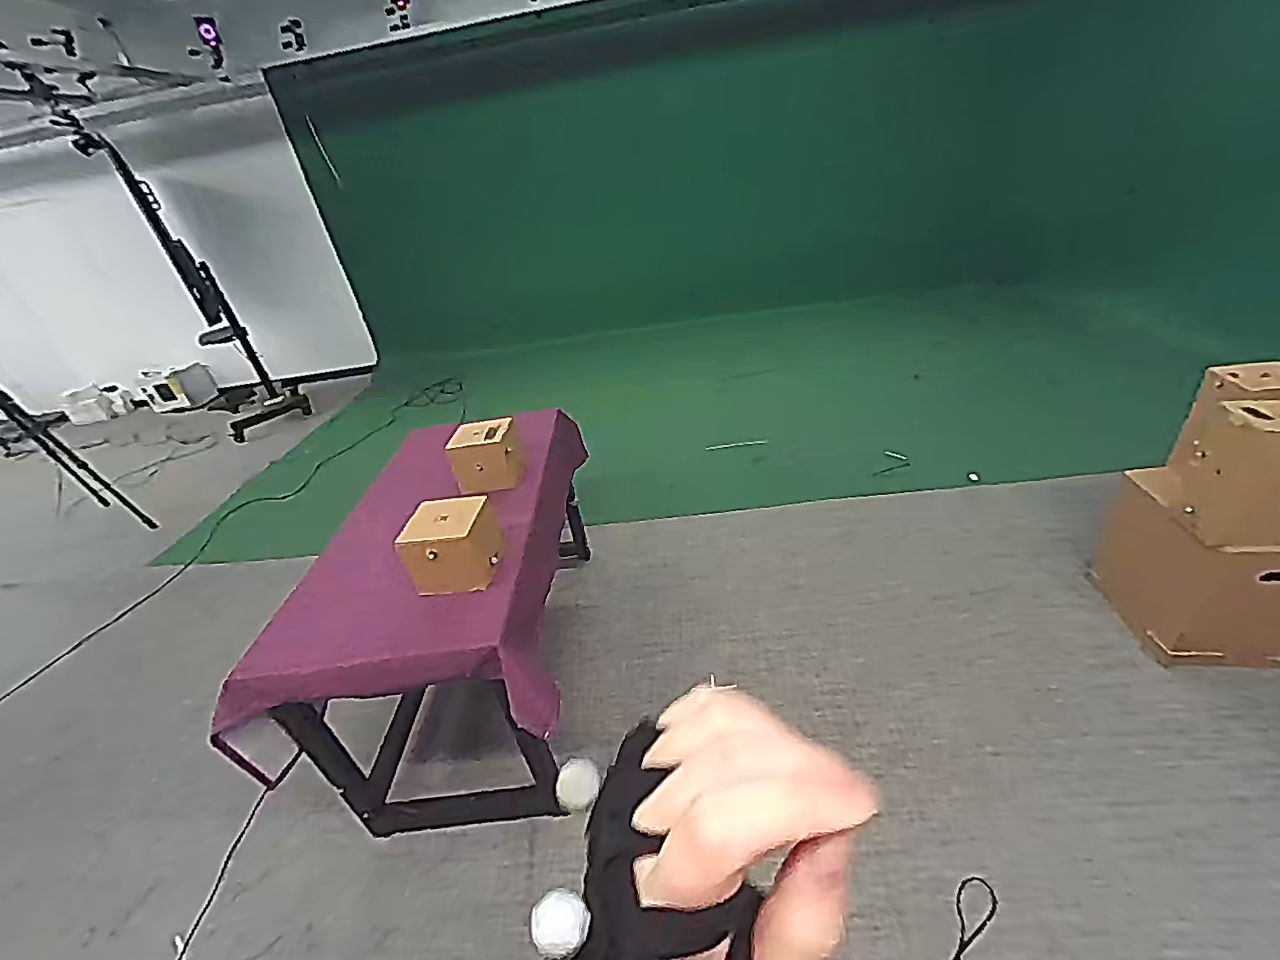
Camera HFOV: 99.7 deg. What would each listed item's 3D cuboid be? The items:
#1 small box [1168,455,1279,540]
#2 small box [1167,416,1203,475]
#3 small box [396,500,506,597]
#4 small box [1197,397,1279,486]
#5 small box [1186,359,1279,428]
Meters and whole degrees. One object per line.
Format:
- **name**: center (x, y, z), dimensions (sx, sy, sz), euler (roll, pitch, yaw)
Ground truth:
- **small box**: center (1.559, 0.046, 1.416), dimensions (0.179, 0.176, 0.168), euler (-2, 32, 11)
- **small box**: center (1.714, -0.083, 1.579), dimensions (0.168, 0.176, 0.179), euler (-4, 32, 10)
- **small box**: center (-0.451, 0.169, 1.321), dimensions (0.179, 0.176, 0.168), euler (-6, 32, 8)
- **small box**: center (1.539, -0.094, 1.331), dimensions (0.179, 0.176, 0.168), euler (1, 33, 14)
- **small box**: center (1.685, -0.219, 1.490), dimensions (0.179, 0.176, 0.168), euler (-2, 32, 13)
